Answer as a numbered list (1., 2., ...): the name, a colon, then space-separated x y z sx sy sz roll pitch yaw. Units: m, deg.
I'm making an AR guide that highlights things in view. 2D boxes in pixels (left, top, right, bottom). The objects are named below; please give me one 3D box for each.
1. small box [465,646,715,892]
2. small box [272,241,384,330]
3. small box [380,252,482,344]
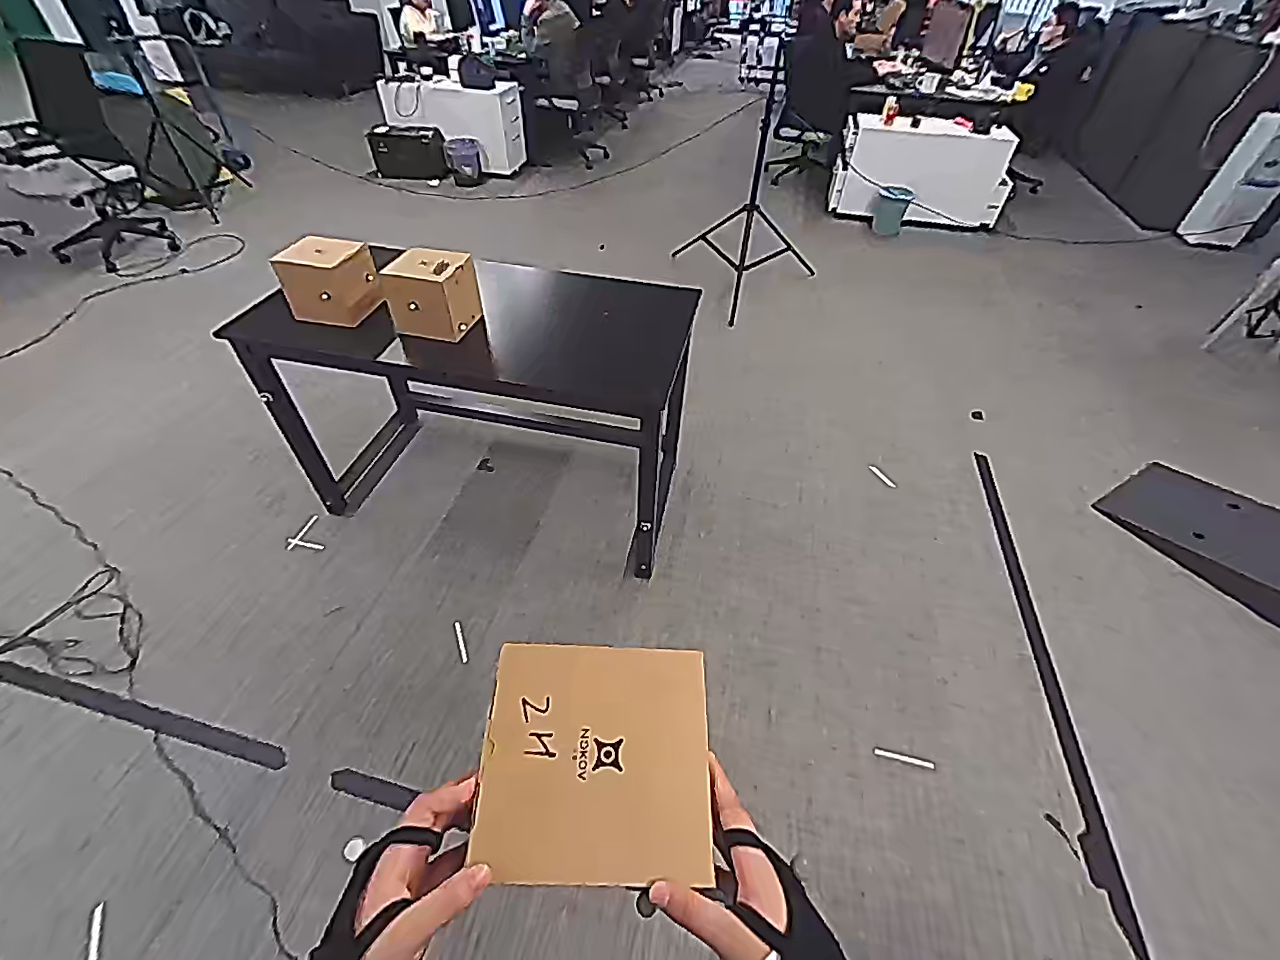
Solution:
1. small box: -0.037 0.259 0.483 0.179 0.176 0.168 3 54 -2
2. small box: -0.830 -0.523 1.462 0.179 0.176 0.168 8 45 6
3. small box: -0.540 -0.479 1.428 0.179 0.176 0.168 10 46 9
